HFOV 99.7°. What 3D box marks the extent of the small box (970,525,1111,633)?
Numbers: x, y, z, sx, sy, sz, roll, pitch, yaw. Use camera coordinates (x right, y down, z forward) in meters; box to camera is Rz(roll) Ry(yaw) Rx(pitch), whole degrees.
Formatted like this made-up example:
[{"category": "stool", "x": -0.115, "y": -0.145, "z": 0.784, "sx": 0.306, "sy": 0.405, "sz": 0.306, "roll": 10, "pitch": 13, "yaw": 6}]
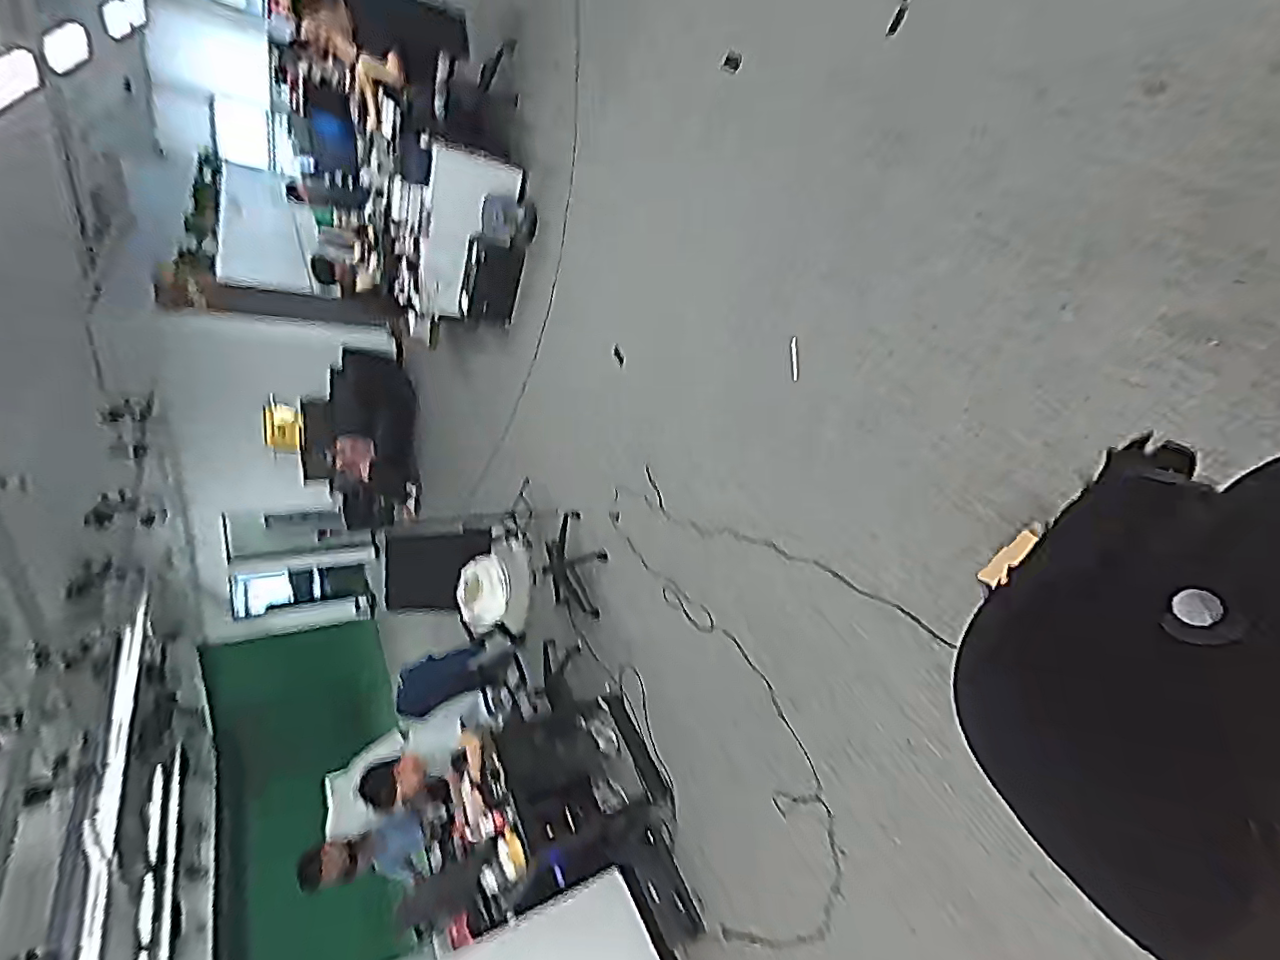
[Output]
[{"category": "small box", "x": 0.928, "y": 0.221, "z": 1.252, "sx": 0.179, "sy": 0.176, "sz": 0.168, "roll": 55, "pitch": 134, "yaw": 37}]
